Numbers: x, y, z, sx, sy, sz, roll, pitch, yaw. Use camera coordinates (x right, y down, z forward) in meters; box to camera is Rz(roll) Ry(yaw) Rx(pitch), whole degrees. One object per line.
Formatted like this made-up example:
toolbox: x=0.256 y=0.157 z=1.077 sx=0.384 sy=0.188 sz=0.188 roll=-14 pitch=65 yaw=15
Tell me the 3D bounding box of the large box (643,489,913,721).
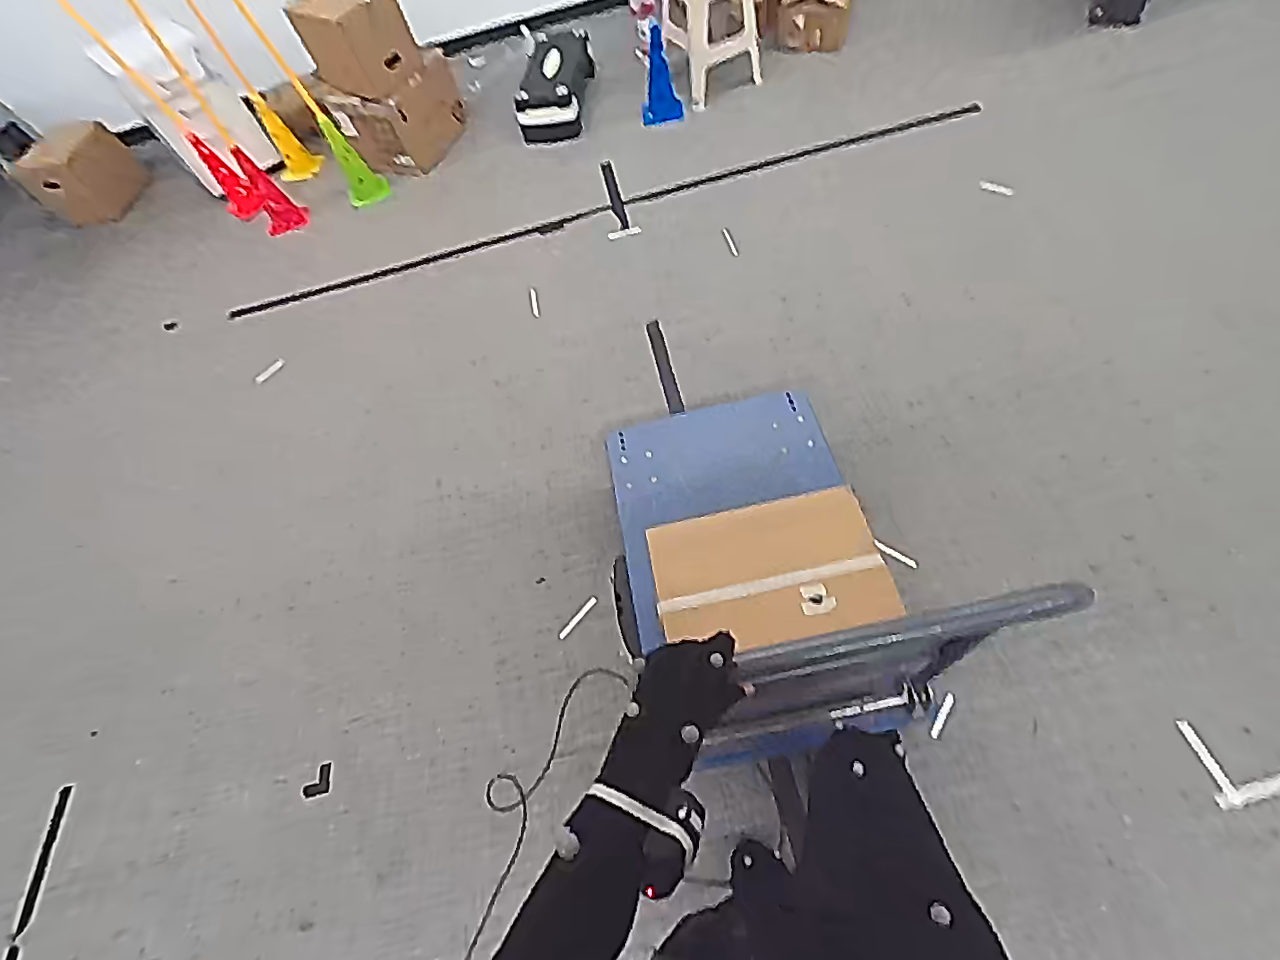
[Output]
large box: x=0.243 y=0.263 z=1.082 sx=0.408 sy=0.320 sz=0.320 roll=-13 pitch=61 yaw=1
